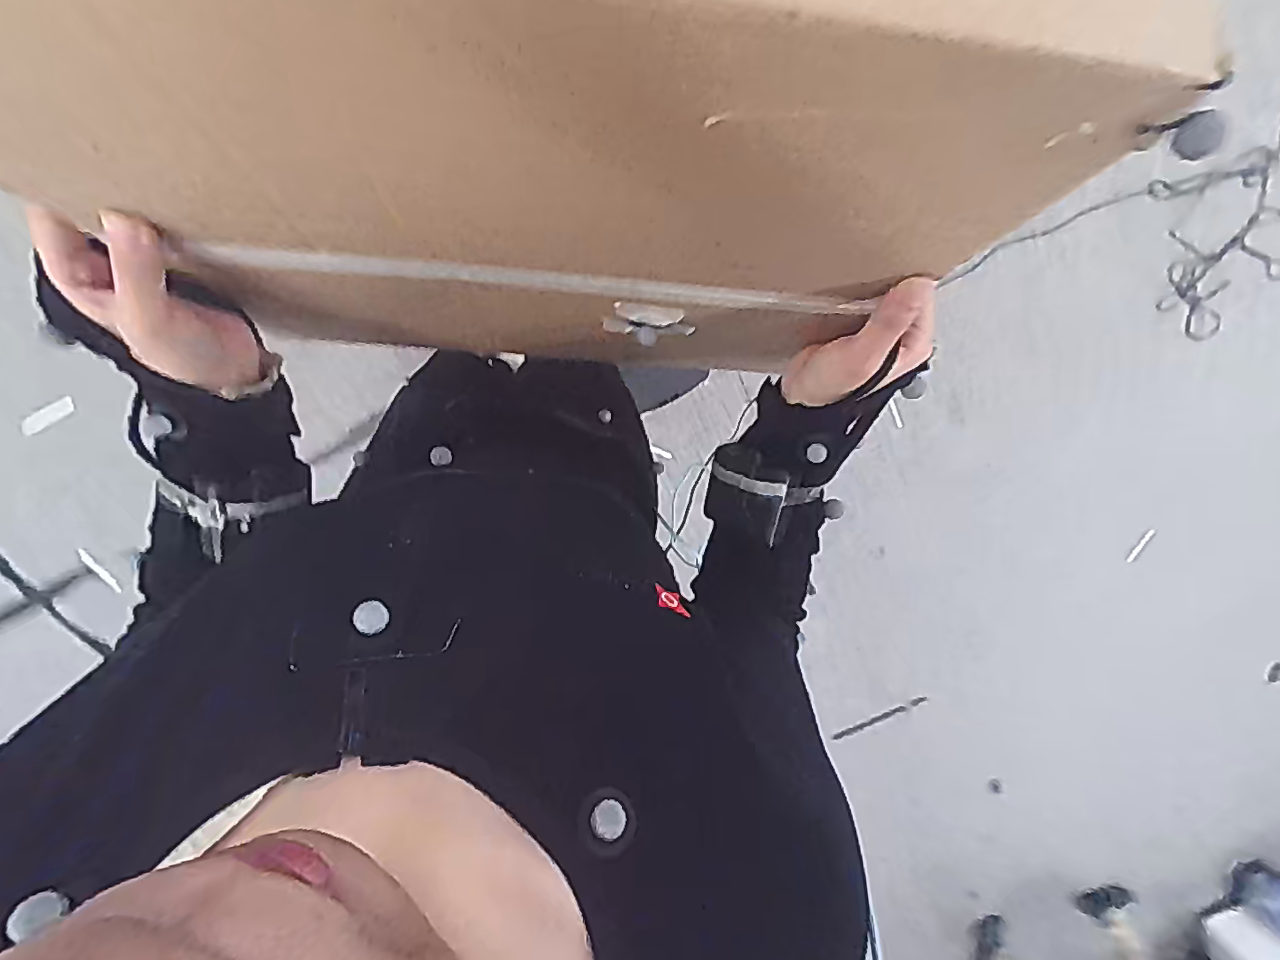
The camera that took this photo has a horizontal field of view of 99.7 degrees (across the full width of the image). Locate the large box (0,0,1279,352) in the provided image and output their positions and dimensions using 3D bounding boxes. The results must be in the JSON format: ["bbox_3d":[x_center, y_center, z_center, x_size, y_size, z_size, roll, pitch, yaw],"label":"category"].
[{"bbox_3d":[-0.034,-0.270,0.267,0.408,0.320,0.320,2,86,-7],"label":"large box"}]
